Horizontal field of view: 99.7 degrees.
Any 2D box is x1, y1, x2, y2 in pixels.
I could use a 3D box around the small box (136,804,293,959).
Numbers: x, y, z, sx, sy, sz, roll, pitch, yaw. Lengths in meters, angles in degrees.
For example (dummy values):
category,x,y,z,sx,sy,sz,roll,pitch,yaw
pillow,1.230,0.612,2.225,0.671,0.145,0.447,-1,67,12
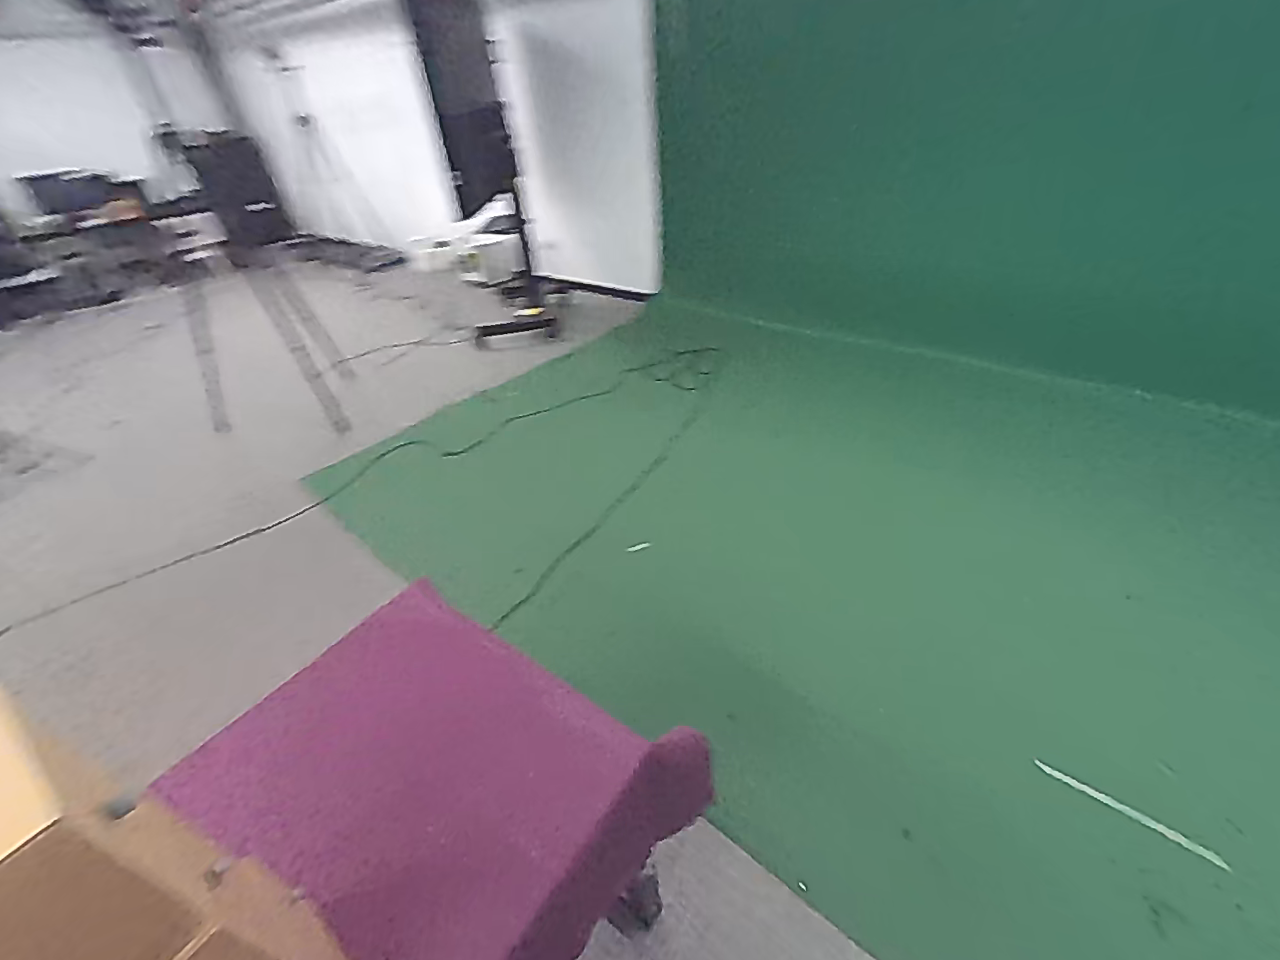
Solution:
category,x,y,z,sx,sy,sz,roll,pitch,yaw
small box,-0.420,0.418,0.437,0.179,0.176,0.168,18,42,31
